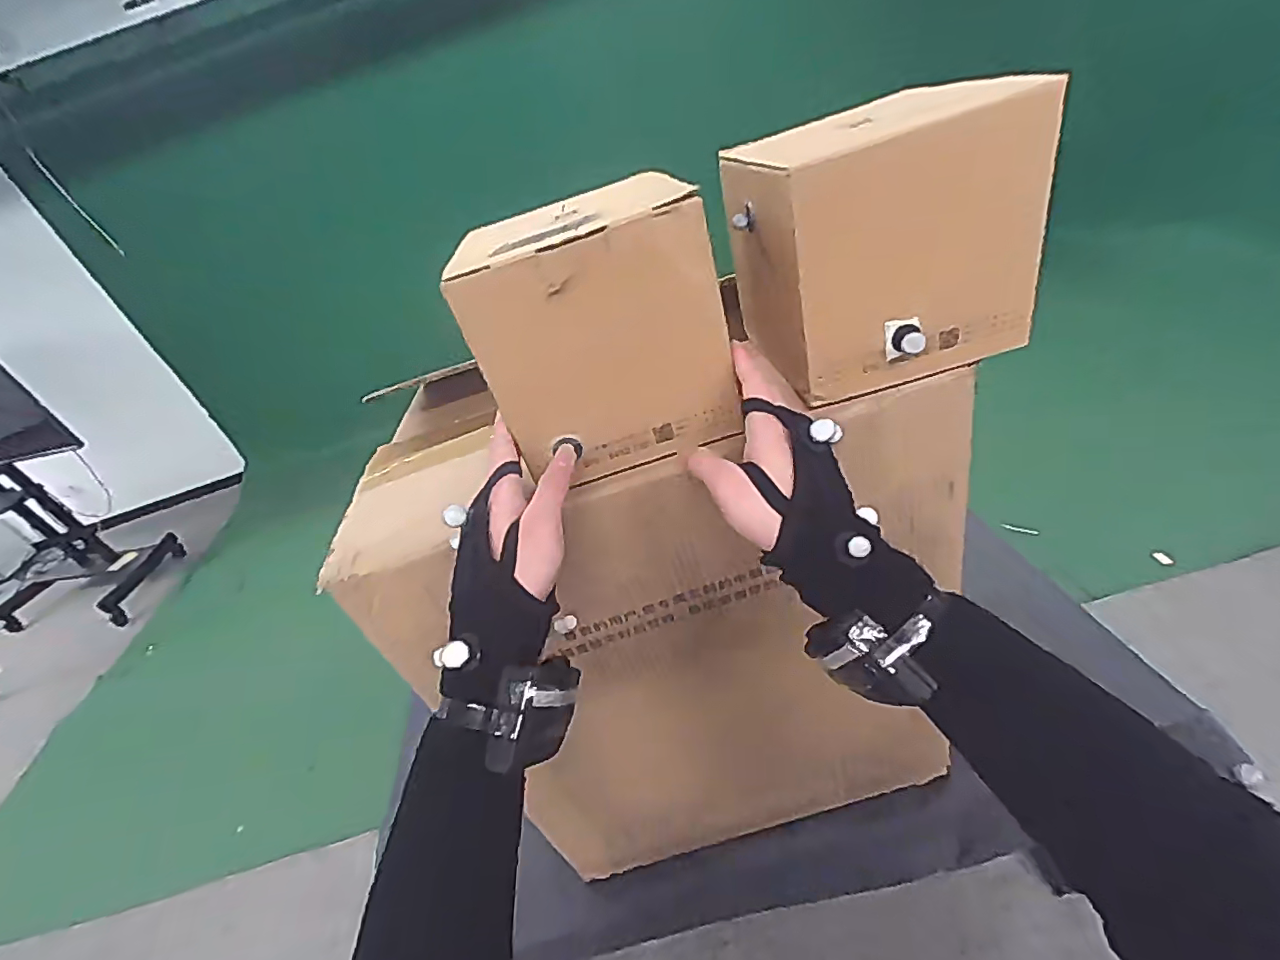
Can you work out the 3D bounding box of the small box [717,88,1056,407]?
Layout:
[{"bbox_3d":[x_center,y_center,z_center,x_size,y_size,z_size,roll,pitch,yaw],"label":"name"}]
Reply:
[{"bbox_3d":[0.175,-0.182,0.431,0.168,0.176,0.179,-19,35,2],"label":"small box"}]
